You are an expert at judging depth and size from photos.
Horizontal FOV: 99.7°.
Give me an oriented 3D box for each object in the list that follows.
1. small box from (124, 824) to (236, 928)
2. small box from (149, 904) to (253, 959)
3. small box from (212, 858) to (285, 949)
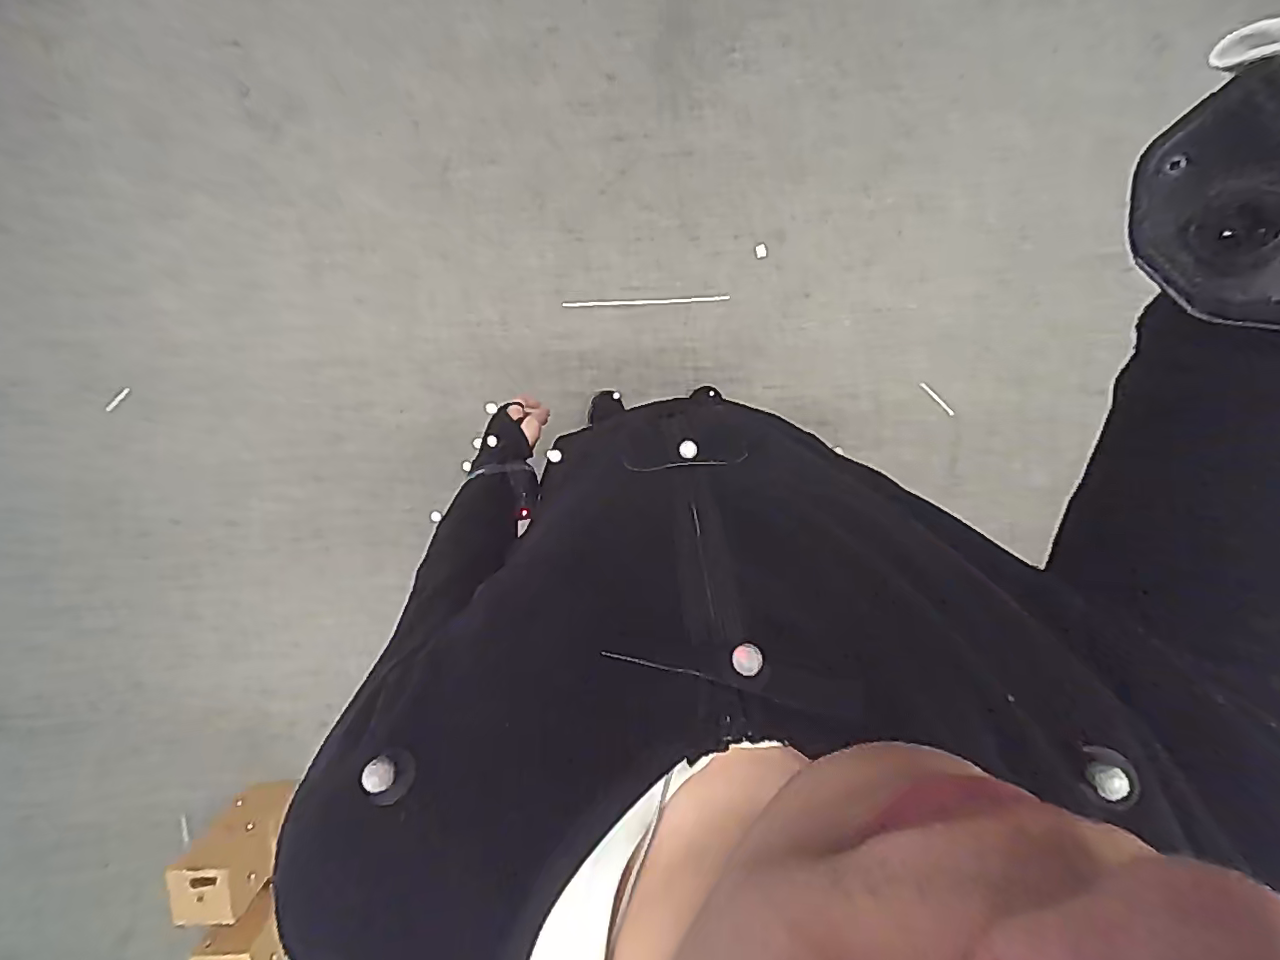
[{"bbox_3d":[-1.262,1.087,1.496,0.168,0.176,0.179,2,100,-1],"label":"small box"},{"bbox_3d":[-1.245,1.353,1.542,0.179,0.176,0.168,-2,100,-1],"label":"small box"},{"bbox_3d":[-1.251,1.329,1.702,0.179,0.176,0.168,1,99,-3],"label":"small box"}]
